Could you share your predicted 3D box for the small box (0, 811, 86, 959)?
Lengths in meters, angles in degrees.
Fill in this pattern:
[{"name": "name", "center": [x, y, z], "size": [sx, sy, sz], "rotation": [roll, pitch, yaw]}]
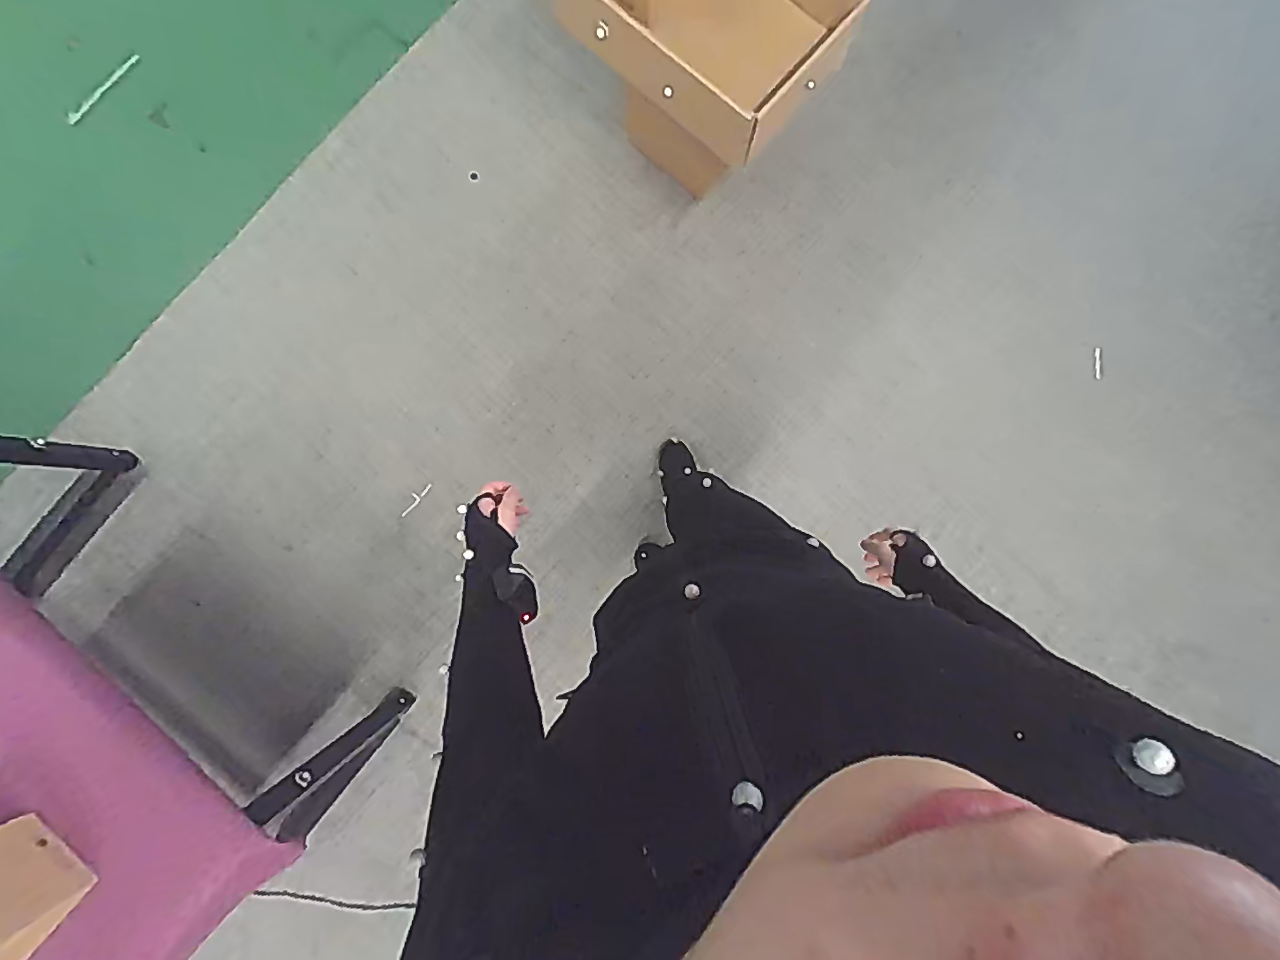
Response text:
[{"name": "small box", "center": [-1.007, 0.650, 0.800], "size": [0.168, 0.176, 0.179], "rotation": [41, 88, 2]}]
